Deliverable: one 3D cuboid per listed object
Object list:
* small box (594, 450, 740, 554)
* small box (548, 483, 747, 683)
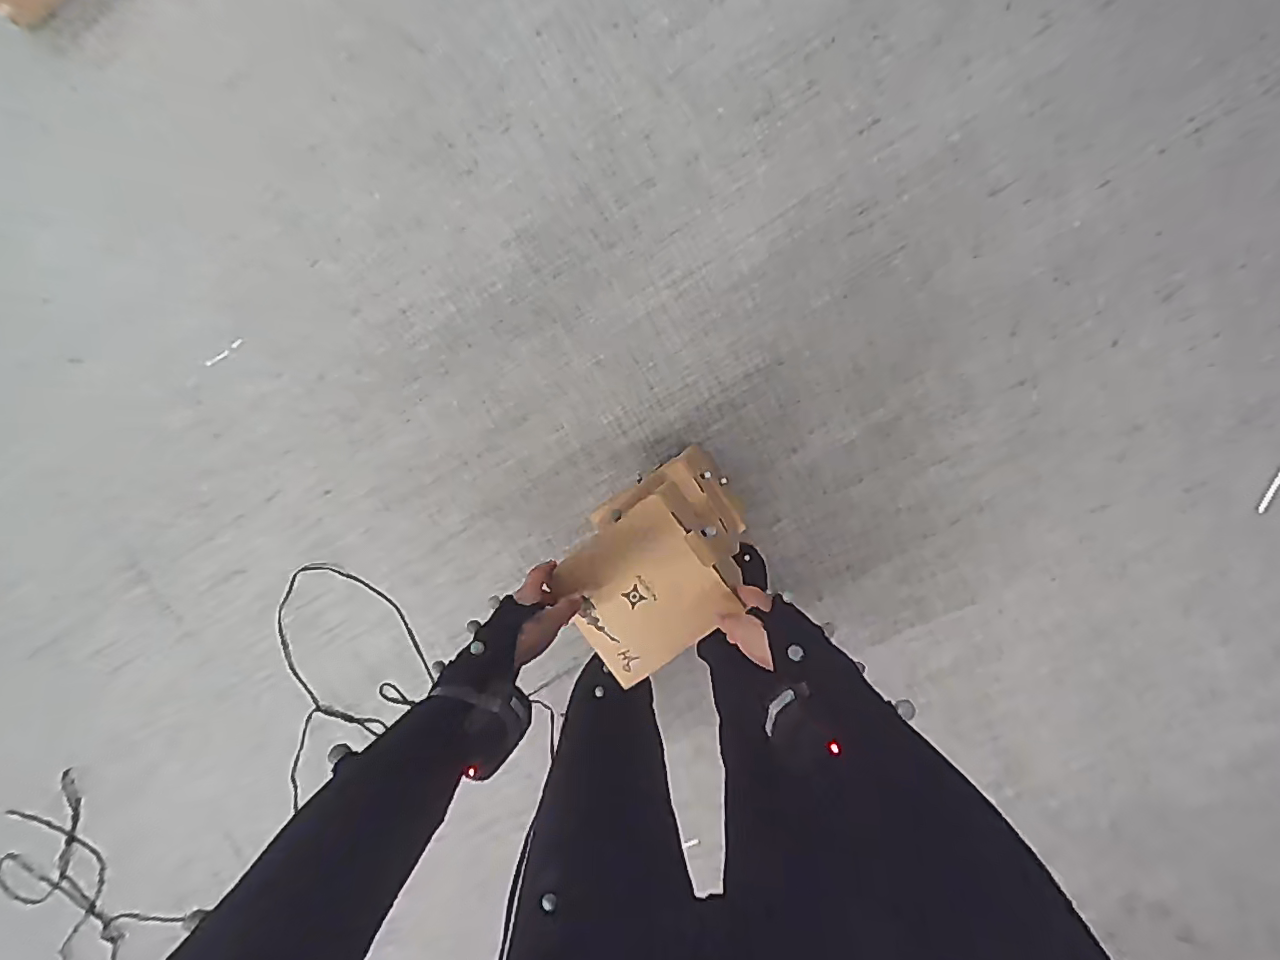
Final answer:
[{"bbox_3d":[0.051,0.062,0.908,0.179,0.176,0.168,-31,92,13],"label":"small box"},{"bbox_3d":[0.016,0.117,0.698,0.179,0.176,0.168,-37,88,9],"label":"small box"}]
